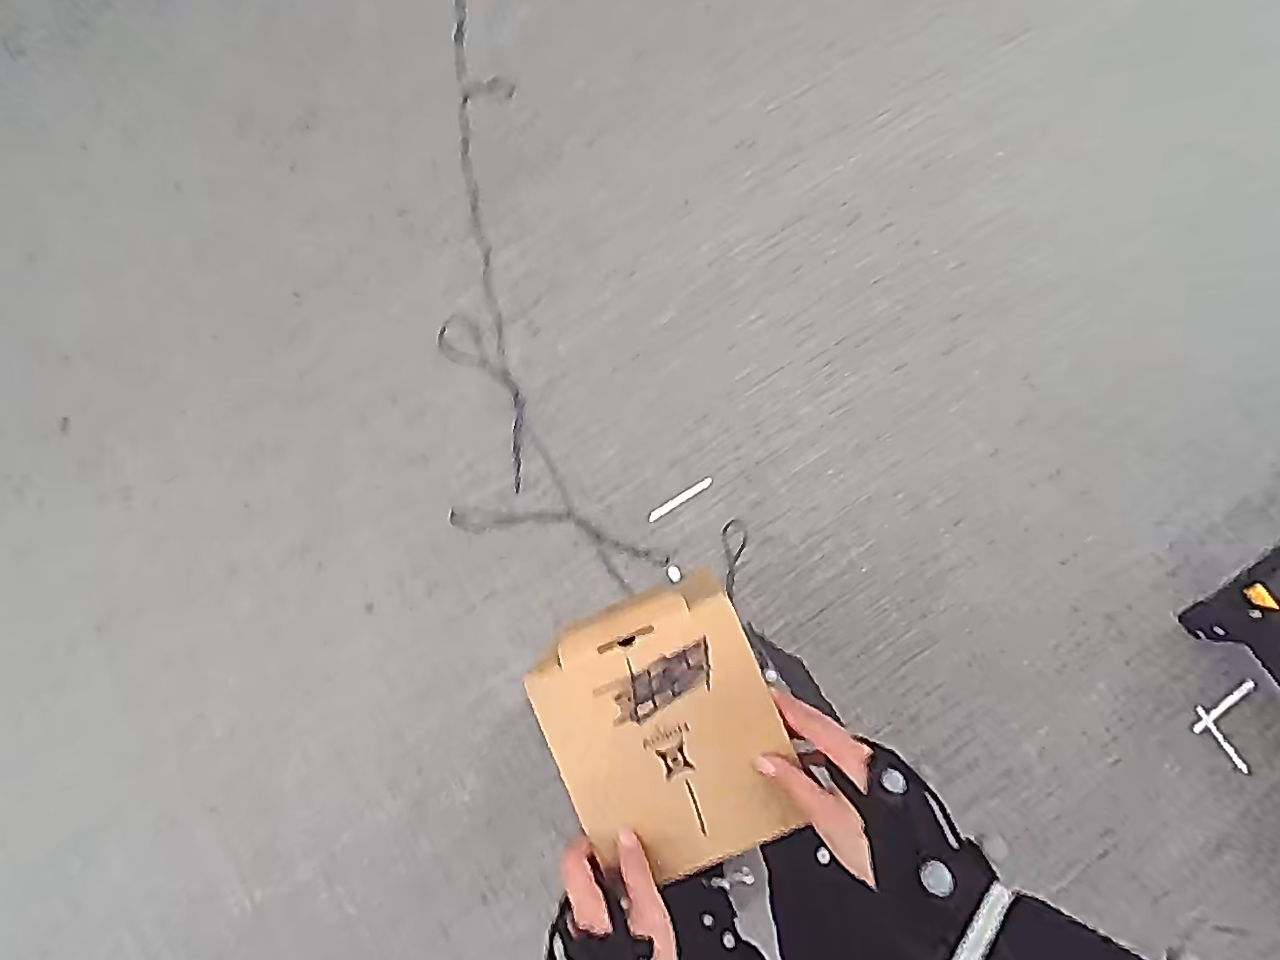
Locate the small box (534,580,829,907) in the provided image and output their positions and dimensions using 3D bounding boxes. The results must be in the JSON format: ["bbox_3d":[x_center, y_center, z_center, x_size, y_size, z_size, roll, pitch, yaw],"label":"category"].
[{"bbox_3d":[0.029,0.197,0.466,0.168,0.176,0.179,-23,89,1],"label":"small box"}]
